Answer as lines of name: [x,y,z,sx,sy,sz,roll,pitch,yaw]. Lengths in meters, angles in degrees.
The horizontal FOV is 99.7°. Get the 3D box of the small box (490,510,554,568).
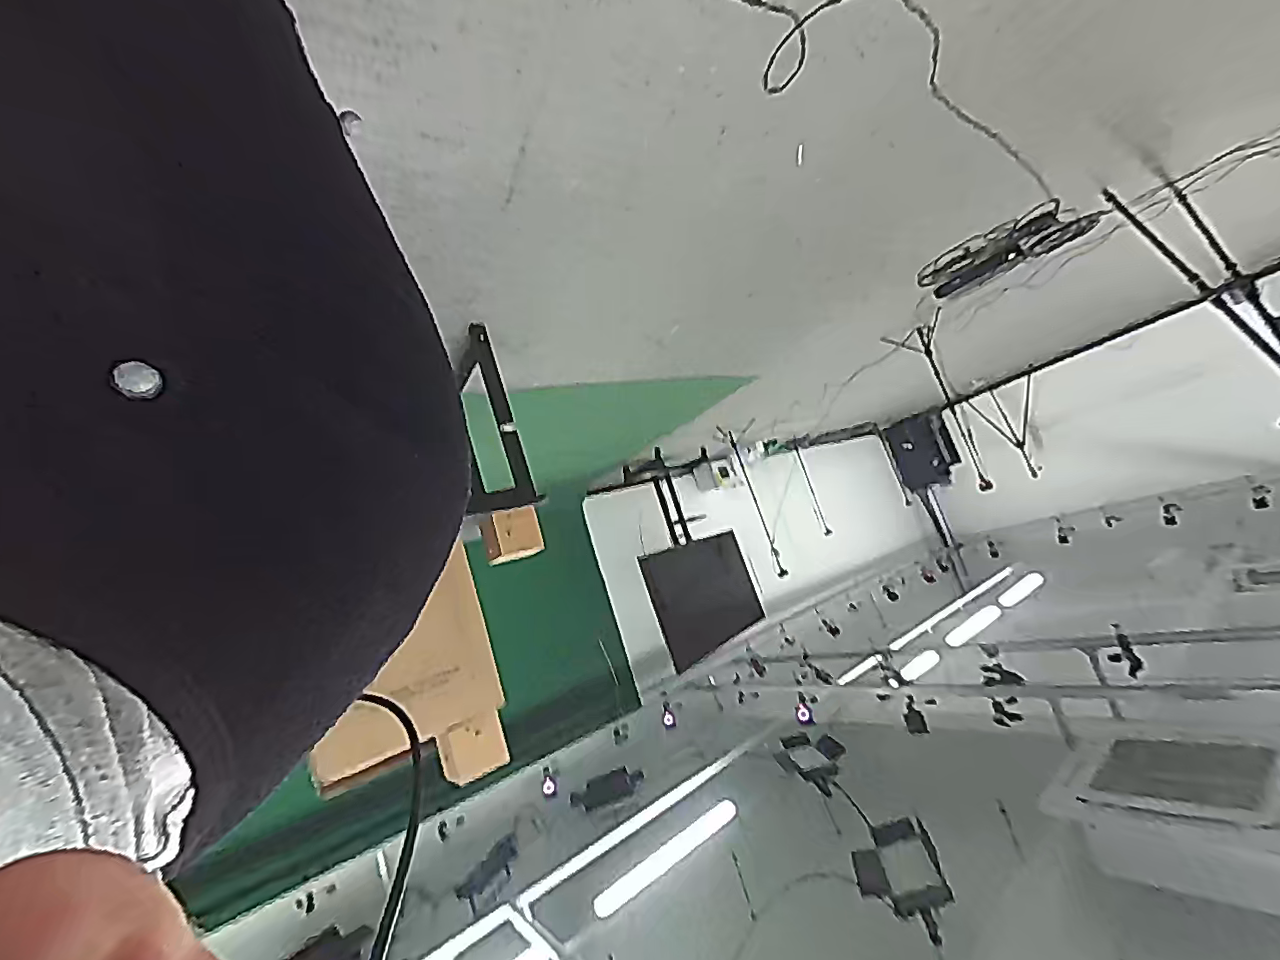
small box: [-0.449,0.218,2.027,0.168,0.176,0.179,-11,169,-34]

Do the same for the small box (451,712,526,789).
small box: [-0.500,0.872,1.760,0.168,0.176,0.179,-14,169,-37]
